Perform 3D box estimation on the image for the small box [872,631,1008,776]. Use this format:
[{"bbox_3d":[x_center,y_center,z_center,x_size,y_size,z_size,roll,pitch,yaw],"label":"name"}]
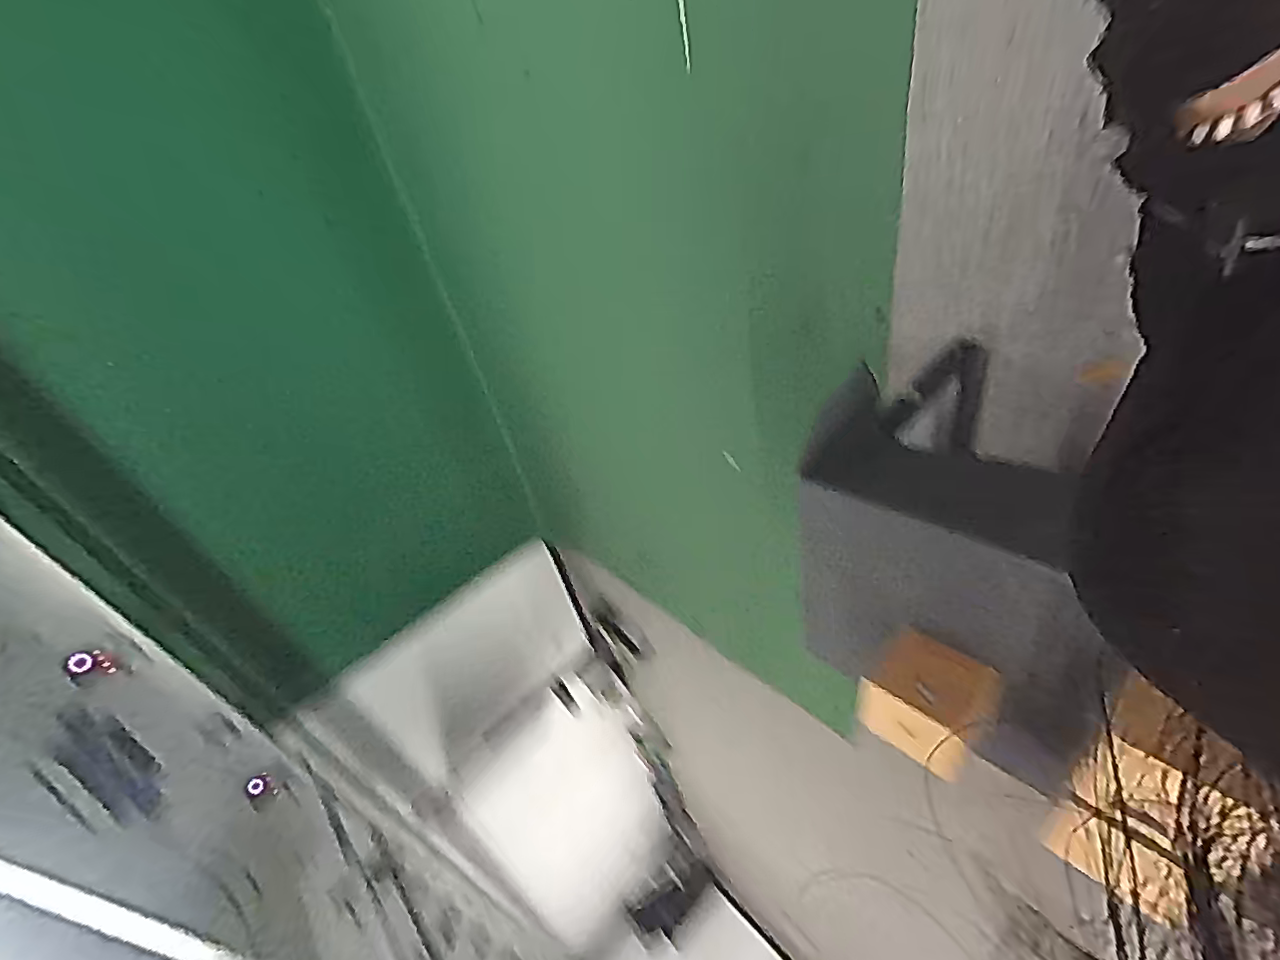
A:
[{"bbox_3d":[0.587,0.429,1.070,0.179,0.176,0.168,24,140,42],"label":"small box"}]
